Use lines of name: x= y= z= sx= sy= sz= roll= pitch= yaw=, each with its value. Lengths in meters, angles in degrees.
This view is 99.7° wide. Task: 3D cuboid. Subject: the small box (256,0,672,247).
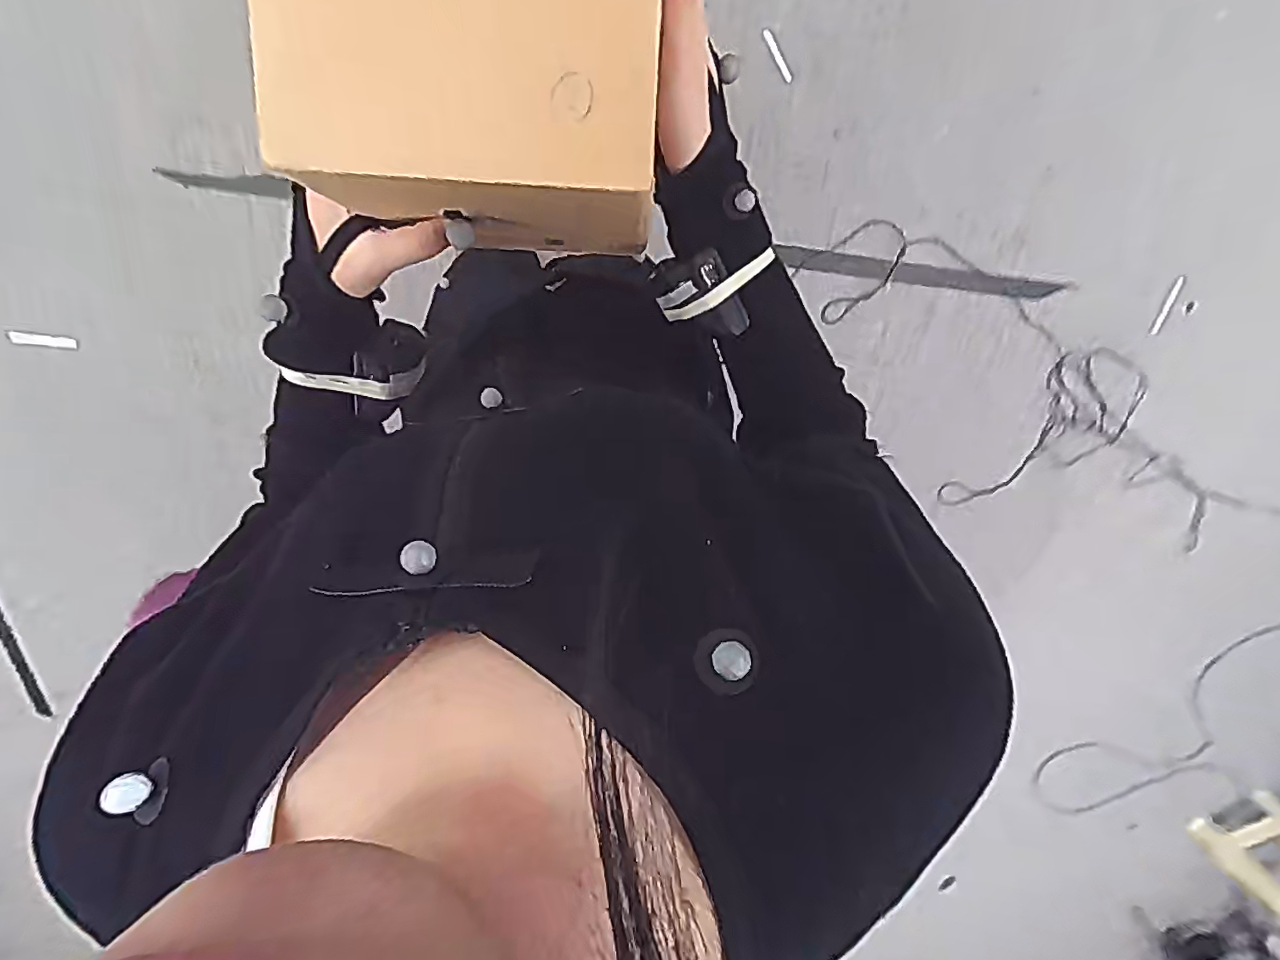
small box: x=-0.068 y=-0.233 z=0.287 sx=0.168 sy=0.176 sz=0.179 roll=3 pitch=102 yaw=-2
